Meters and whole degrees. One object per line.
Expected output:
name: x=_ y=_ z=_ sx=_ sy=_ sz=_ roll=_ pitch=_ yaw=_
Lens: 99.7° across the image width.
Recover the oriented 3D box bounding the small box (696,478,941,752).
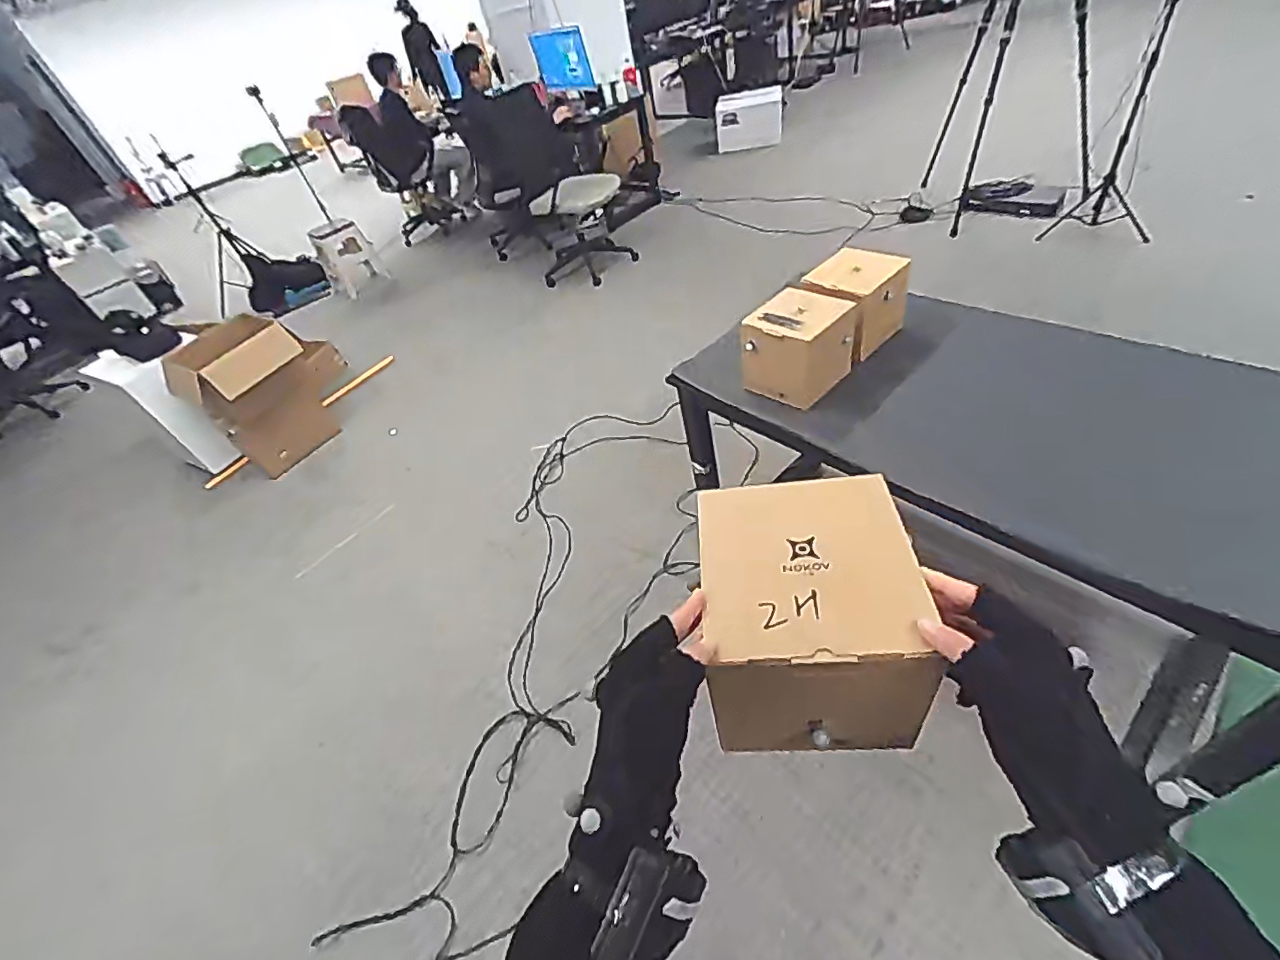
small box: x=0.140 y=0.122 z=0.487 sx=0.168 sy=0.176 sz=0.179 roll=-6 pitch=43 yaw=9

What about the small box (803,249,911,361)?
small box: x=0.491 y=-0.405 z=1.250 sx=0.179 sy=0.176 sz=0.168 roll=-39 pitch=48 yaw=-22
